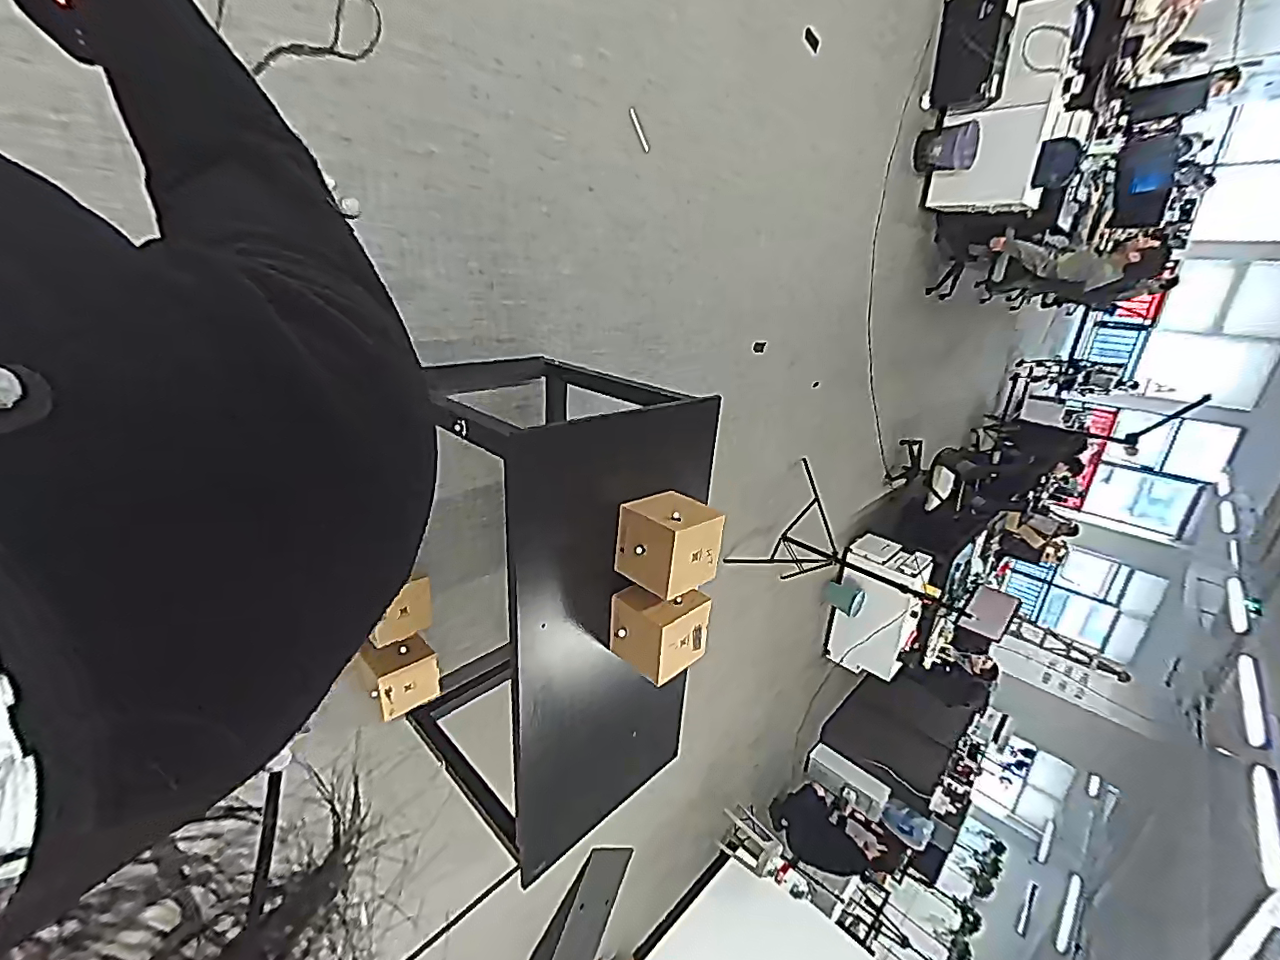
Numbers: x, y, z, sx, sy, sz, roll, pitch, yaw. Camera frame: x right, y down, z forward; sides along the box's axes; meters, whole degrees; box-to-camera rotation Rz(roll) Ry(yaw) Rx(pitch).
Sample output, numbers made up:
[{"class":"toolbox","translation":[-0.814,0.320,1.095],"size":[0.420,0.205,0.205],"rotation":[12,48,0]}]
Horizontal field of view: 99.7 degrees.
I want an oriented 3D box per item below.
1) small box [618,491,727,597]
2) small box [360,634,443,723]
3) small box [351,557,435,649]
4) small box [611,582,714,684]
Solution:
[{"class":"small box","translation":[0.069,0.137,1.226],"size":[0.179,0.176,0.168],"rotation":[-14,118,-44]},{"class":"small box","translation":[-0.738,0.600,1.675],"size":[0.179,0.176,0.168],"rotation":[-19,120,-43]},{"class":"small box","translation":[-0.723,0.354,1.584],"size":[0.168,0.176,0.179],"rotation":[-19,119,-43]},{"class":"small box","translation":[0.053,0.347,1.304],"size":[0.179,0.176,0.168],"rotation":[-18,119,-42]}]
